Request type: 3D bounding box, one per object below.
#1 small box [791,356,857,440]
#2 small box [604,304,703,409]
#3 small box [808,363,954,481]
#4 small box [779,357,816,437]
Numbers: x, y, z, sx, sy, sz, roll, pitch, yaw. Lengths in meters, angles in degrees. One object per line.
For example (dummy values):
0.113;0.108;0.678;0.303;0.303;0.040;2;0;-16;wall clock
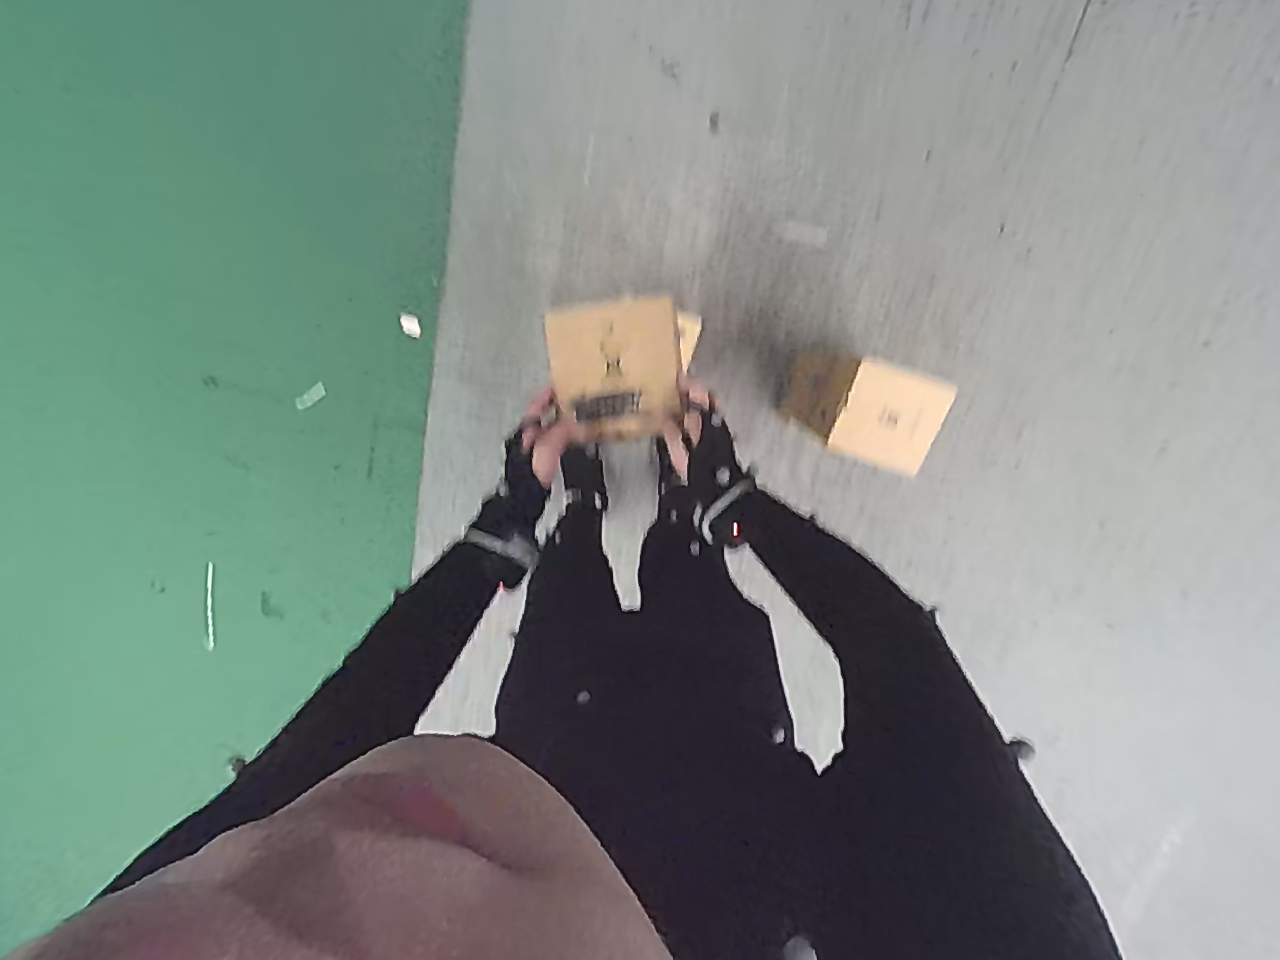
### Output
0.448;-0.164;1.185;0.168;0.176;0.179;20;106;0;small box
0.030;-0.274;1.188;0.168;0.176;0.179;18;106;-1;small box
0.442;-0.118;1.028;0.179;0.176;0.168;19;107;-1;small box
0.457;-0.197;1.345;0.168;0.176;0.179;15;107;-1;small box
